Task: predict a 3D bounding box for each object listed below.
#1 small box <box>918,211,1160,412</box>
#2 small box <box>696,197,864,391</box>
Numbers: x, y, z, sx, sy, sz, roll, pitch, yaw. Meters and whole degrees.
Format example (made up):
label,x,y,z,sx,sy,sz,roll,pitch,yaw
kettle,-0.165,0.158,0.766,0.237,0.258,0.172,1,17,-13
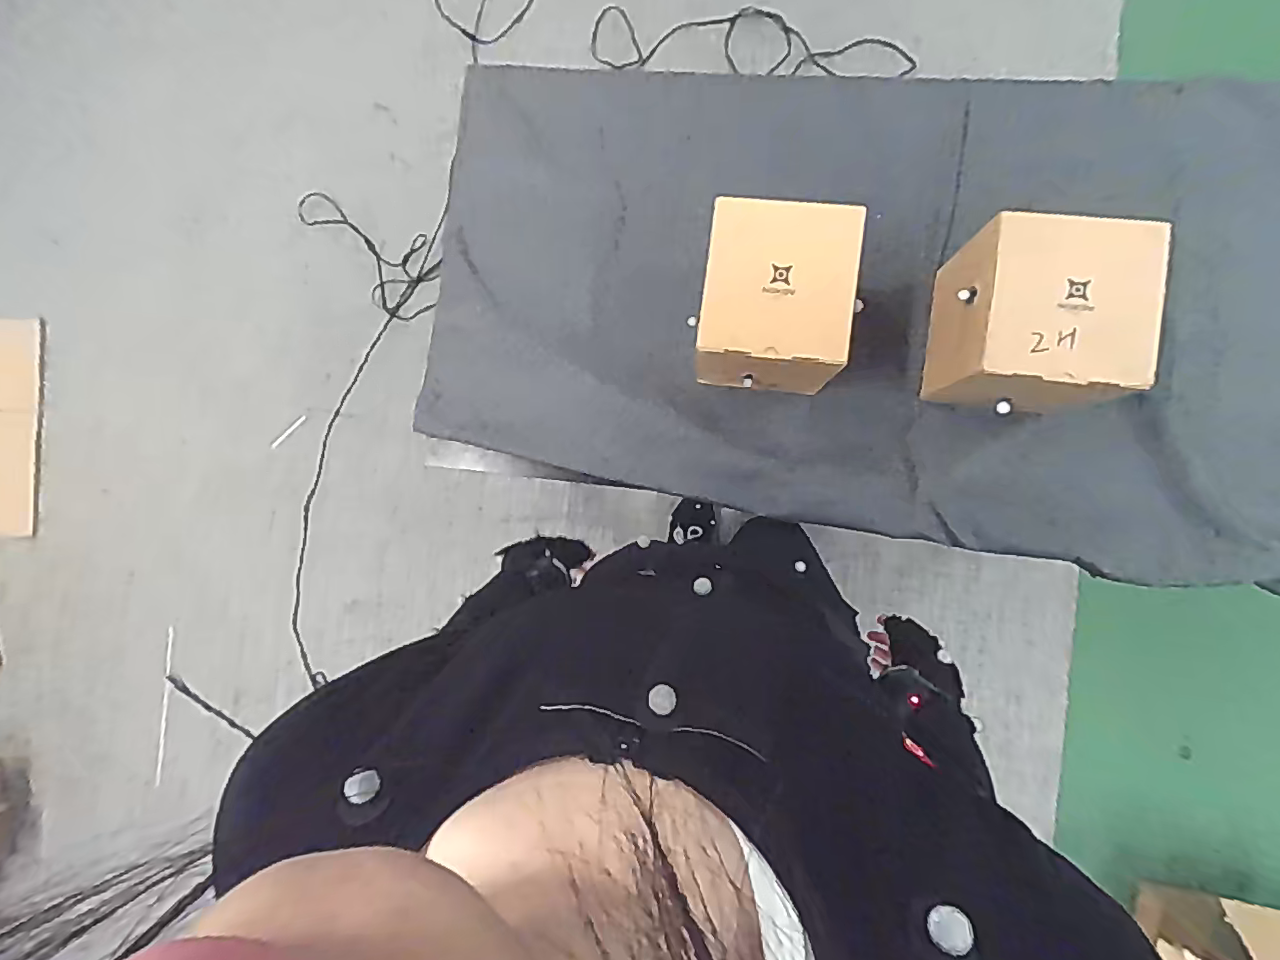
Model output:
label,x,y,z,sx,sy,sz,roll,pitch,yaw
small box,0.457,-0.188,0.648,0.168,0.176,0.179,8,89,6
small box,0.162,-0.220,0.678,0.168,0.176,0.179,7,90,5
